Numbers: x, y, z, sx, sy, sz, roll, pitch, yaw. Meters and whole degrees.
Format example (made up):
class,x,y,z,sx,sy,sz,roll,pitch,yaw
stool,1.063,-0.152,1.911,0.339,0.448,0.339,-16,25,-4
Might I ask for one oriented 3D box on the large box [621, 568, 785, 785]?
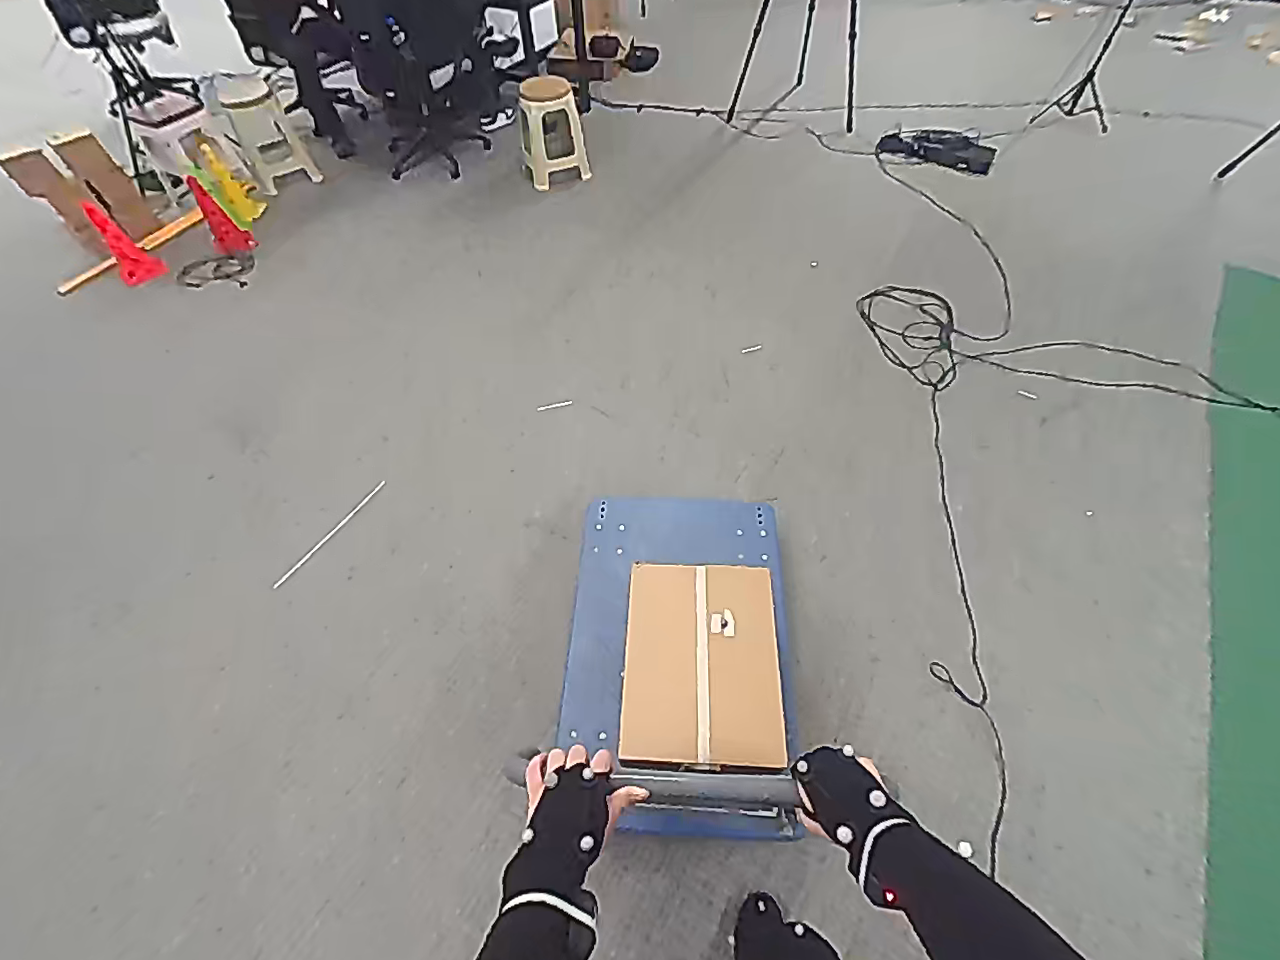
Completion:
class,x,y,z,sx,sy,sz,roll,pitch,yaw
large box,0.132,0.454,1.246,0.320,0.320,0.408,2,54,3
